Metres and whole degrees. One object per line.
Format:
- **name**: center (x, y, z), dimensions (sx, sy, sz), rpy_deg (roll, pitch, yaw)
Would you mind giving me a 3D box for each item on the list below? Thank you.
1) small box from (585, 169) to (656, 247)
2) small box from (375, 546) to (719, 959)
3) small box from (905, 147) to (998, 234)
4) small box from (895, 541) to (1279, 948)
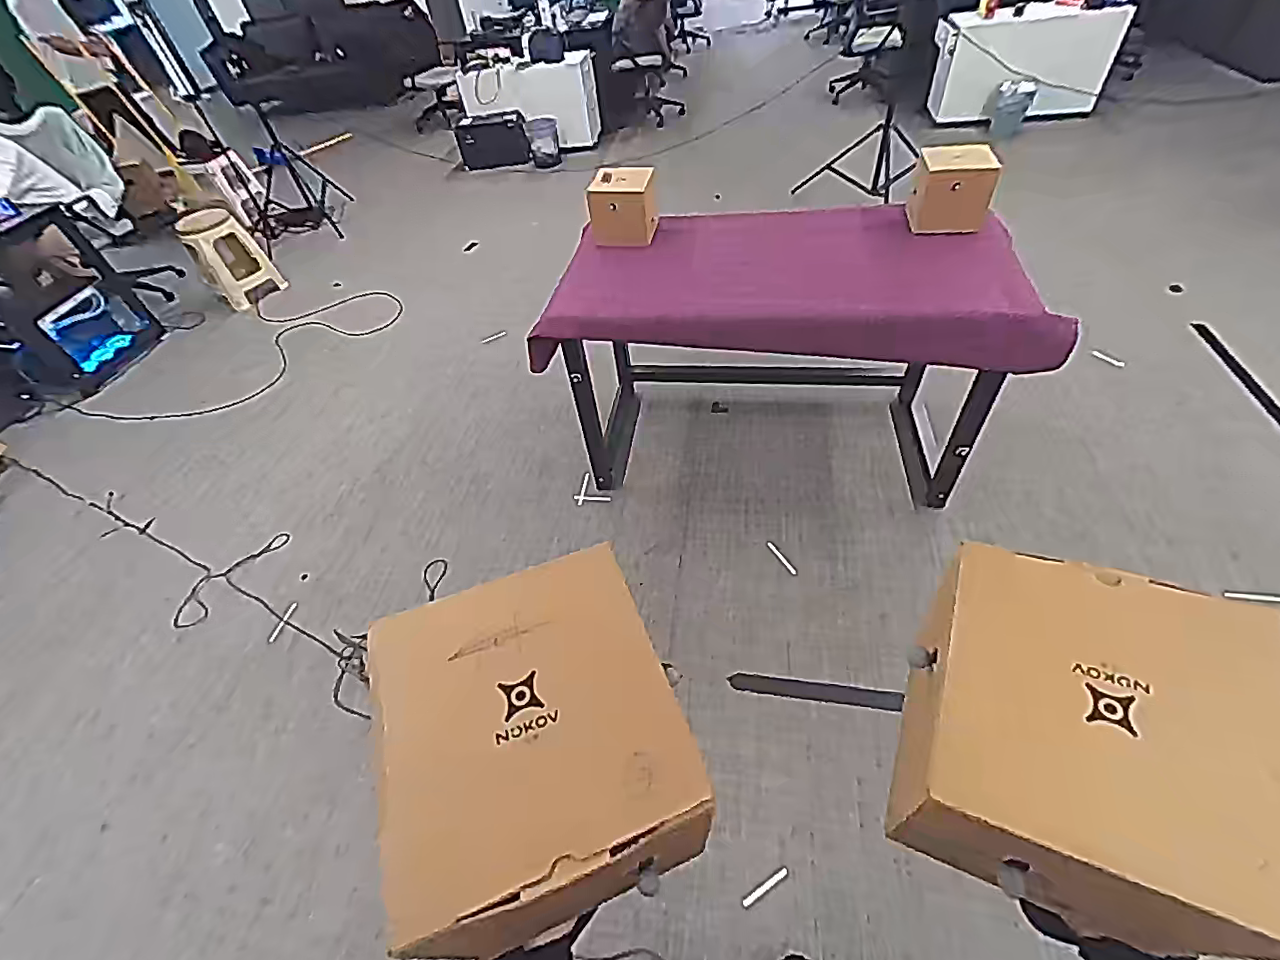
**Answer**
- **small box**: center (-0.053, -0.836, 1.667), dimensions (0.179, 0.176, 0.168), rpy_deg (6, 52, 11)
- **small box**: center (-0.060, 0.182, 0.370), dimensions (0.168, 0.176, 0.179), rpy_deg (-18, 49, -14)
- **small box**: center (0.855, -0.805, 1.508), dimensions (0.179, 0.176, 0.168), rpy_deg (4, 50, 11)
- **small box**: center (0.280, 0.173, 0.363), dimensions (0.168, 0.176, 0.179), rpy_deg (13, 54, 24)
